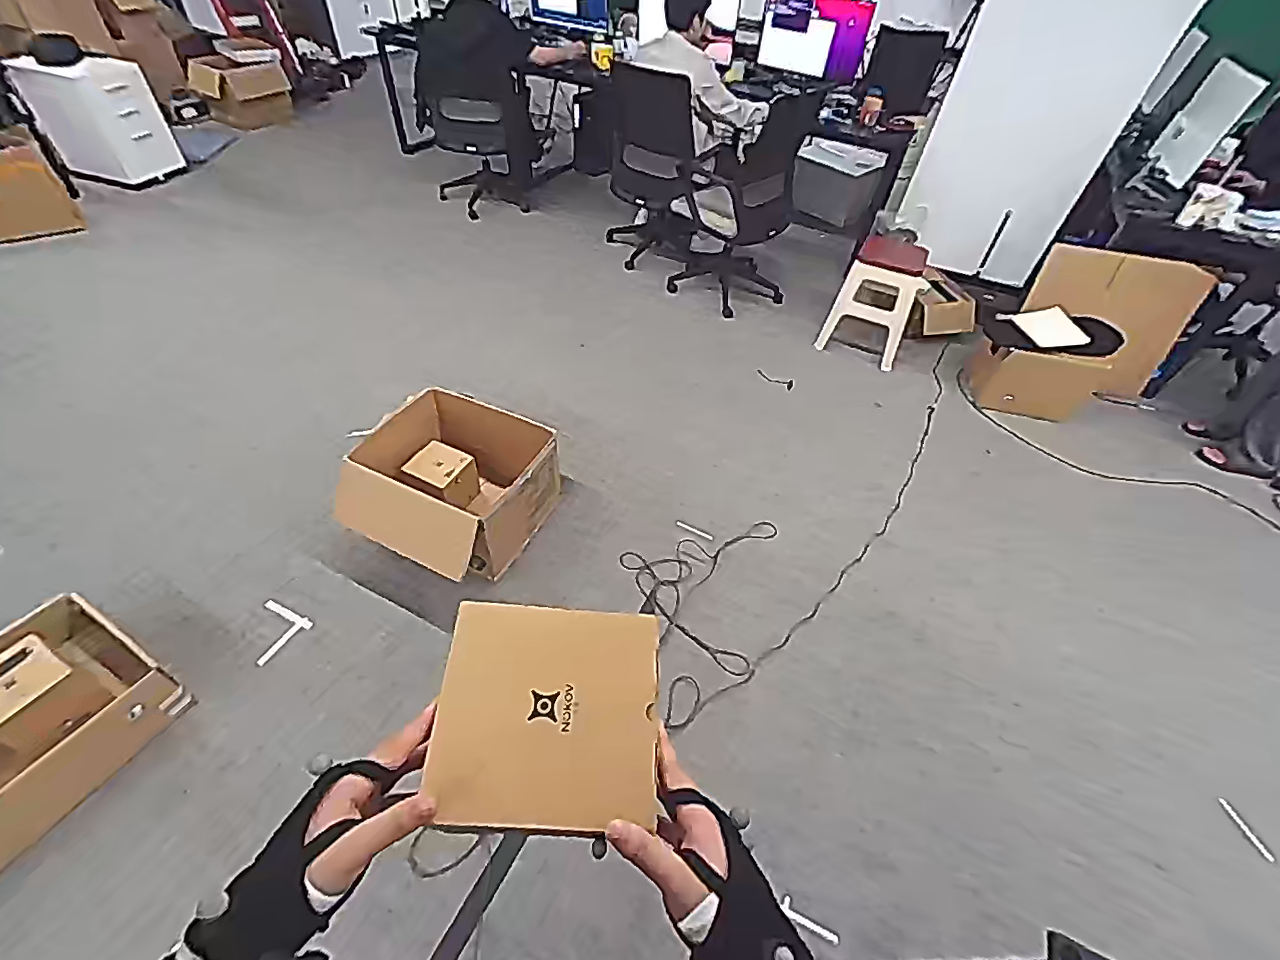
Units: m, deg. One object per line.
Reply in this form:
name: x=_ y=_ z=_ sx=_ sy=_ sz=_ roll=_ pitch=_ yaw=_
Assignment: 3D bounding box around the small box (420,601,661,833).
small box: x=-0.079 y=0.226 z=0.504 sx=0.179 sy=0.176 sz=0.168 roll=6 pitch=56 yaw=-5
